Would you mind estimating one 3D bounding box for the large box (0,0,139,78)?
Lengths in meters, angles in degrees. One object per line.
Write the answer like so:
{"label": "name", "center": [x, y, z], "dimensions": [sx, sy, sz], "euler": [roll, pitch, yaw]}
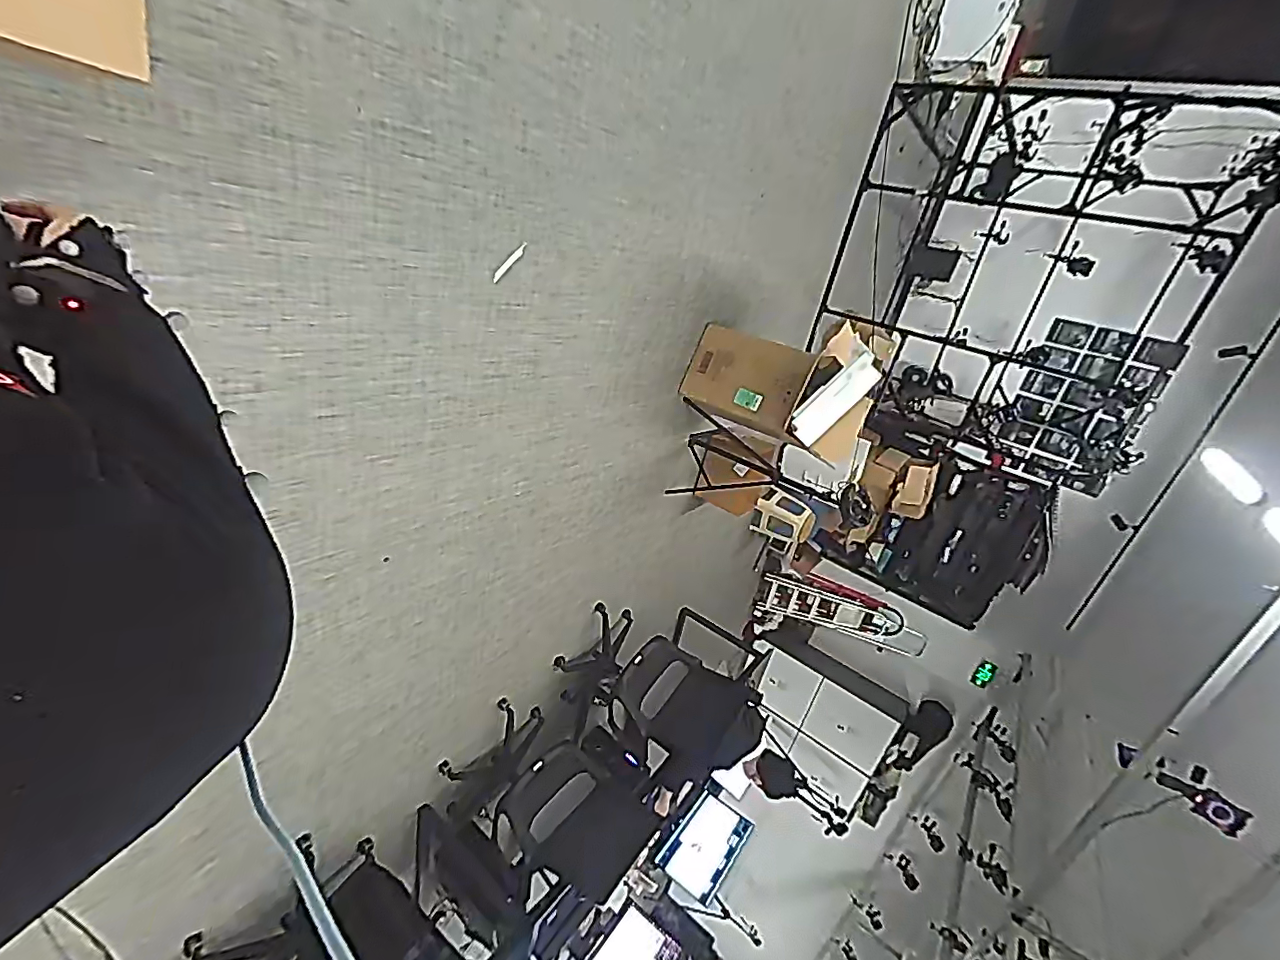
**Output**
{"label": "large box", "center": [-0.887, -0.702, 0.595], "dimensions": [0.408, 0.320, 0.320], "euler": [-19, 130, -54]}
